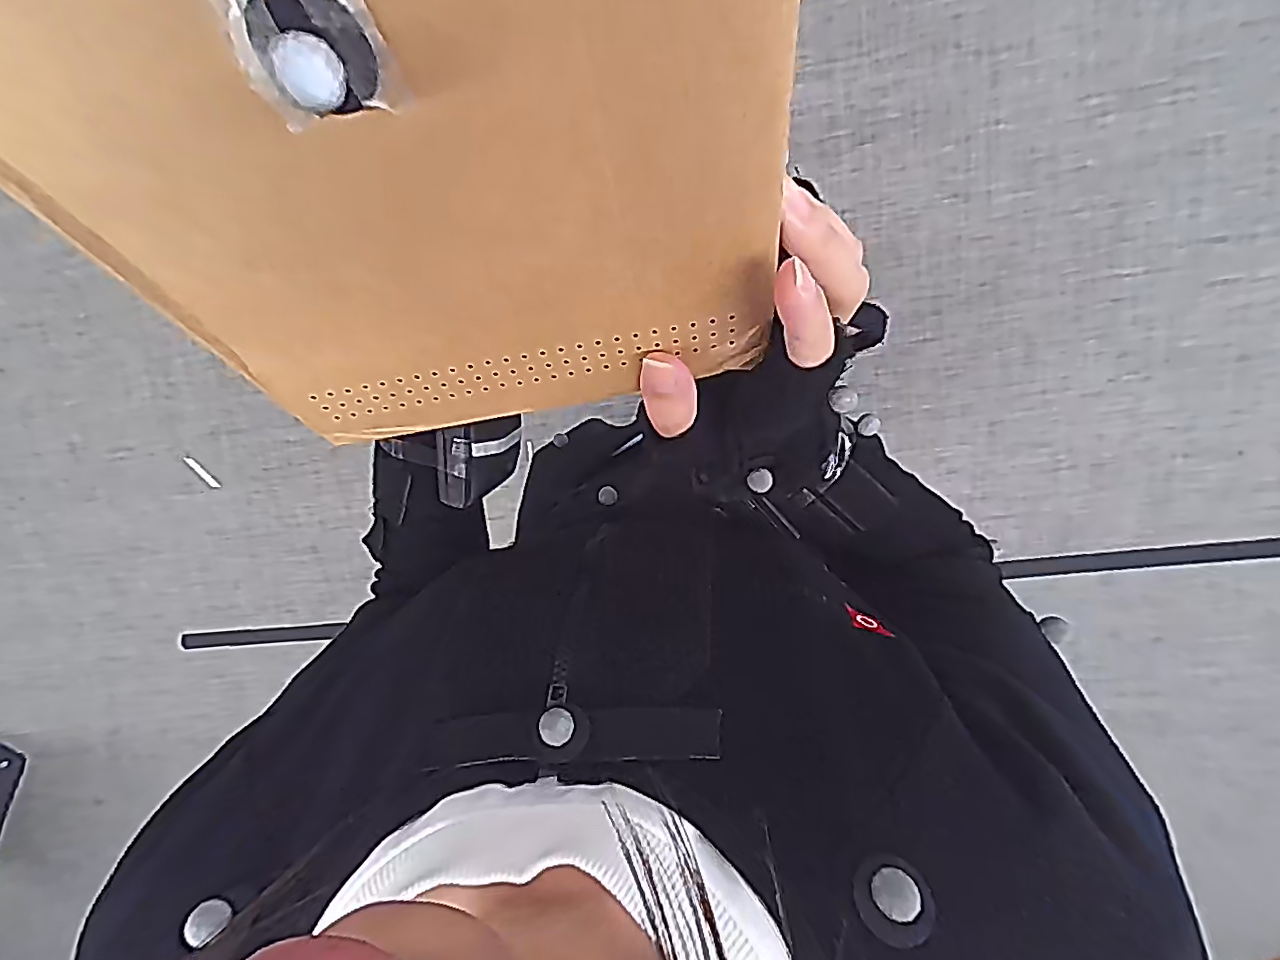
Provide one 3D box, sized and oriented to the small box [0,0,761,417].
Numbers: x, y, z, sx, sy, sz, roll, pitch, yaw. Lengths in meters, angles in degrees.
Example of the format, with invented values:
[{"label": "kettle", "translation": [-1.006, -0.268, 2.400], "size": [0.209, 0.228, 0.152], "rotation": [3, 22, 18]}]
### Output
[{"label": "small box", "translation": [-0.056, -0.140, 0.195], "size": [0.179, 0.176, 0.168], "rotation": [-9, 63, 5]}]
